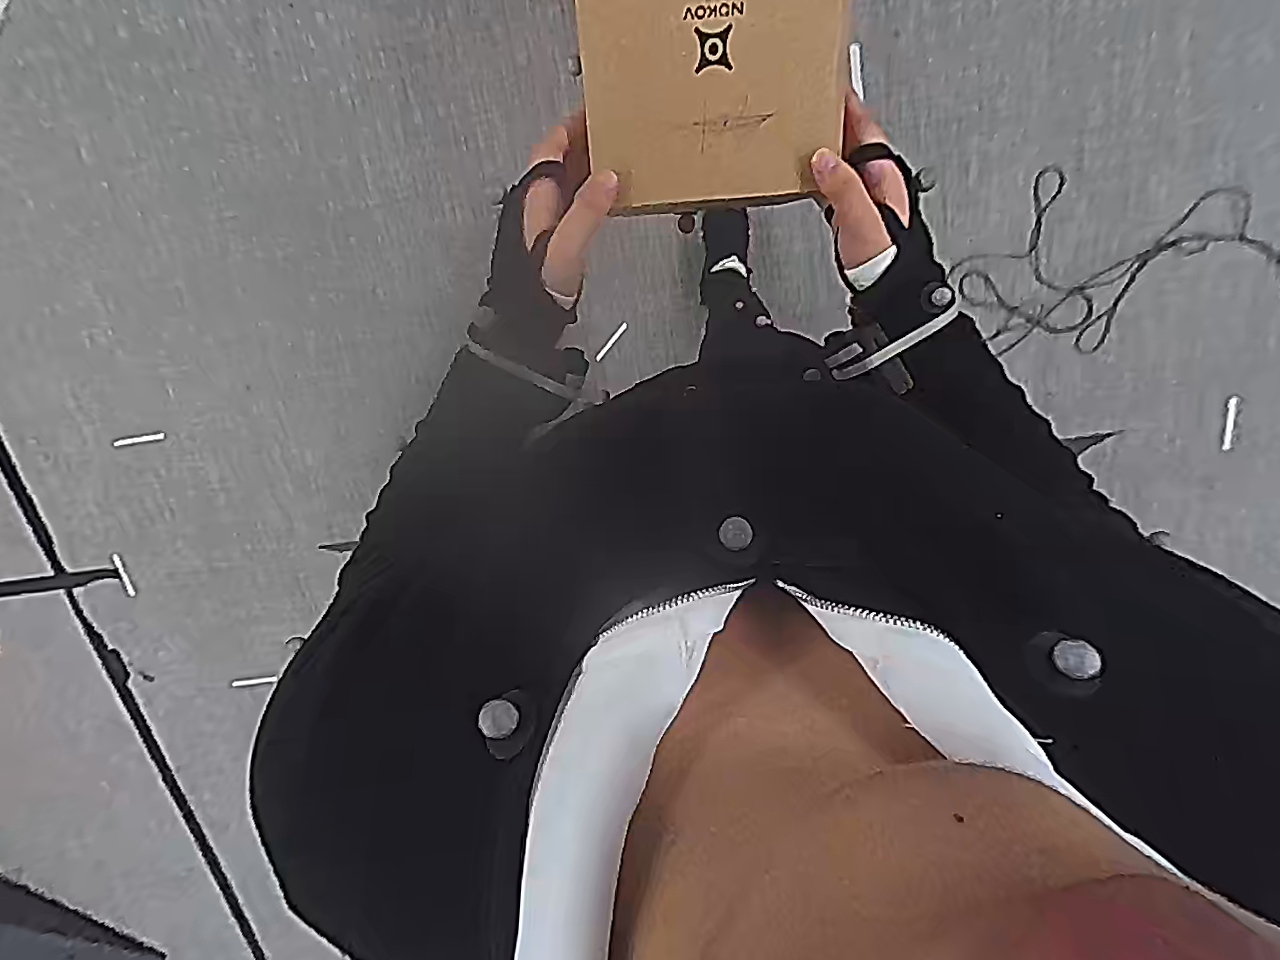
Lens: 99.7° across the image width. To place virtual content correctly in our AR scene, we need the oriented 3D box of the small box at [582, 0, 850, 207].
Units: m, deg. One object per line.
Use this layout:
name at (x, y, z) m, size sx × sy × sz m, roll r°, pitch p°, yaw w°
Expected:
small box at (0.047, -0.312, 0.405) m, size 0.168 × 0.176 × 0.179 m, roll -3°, pitch 114°, yaw 3°
